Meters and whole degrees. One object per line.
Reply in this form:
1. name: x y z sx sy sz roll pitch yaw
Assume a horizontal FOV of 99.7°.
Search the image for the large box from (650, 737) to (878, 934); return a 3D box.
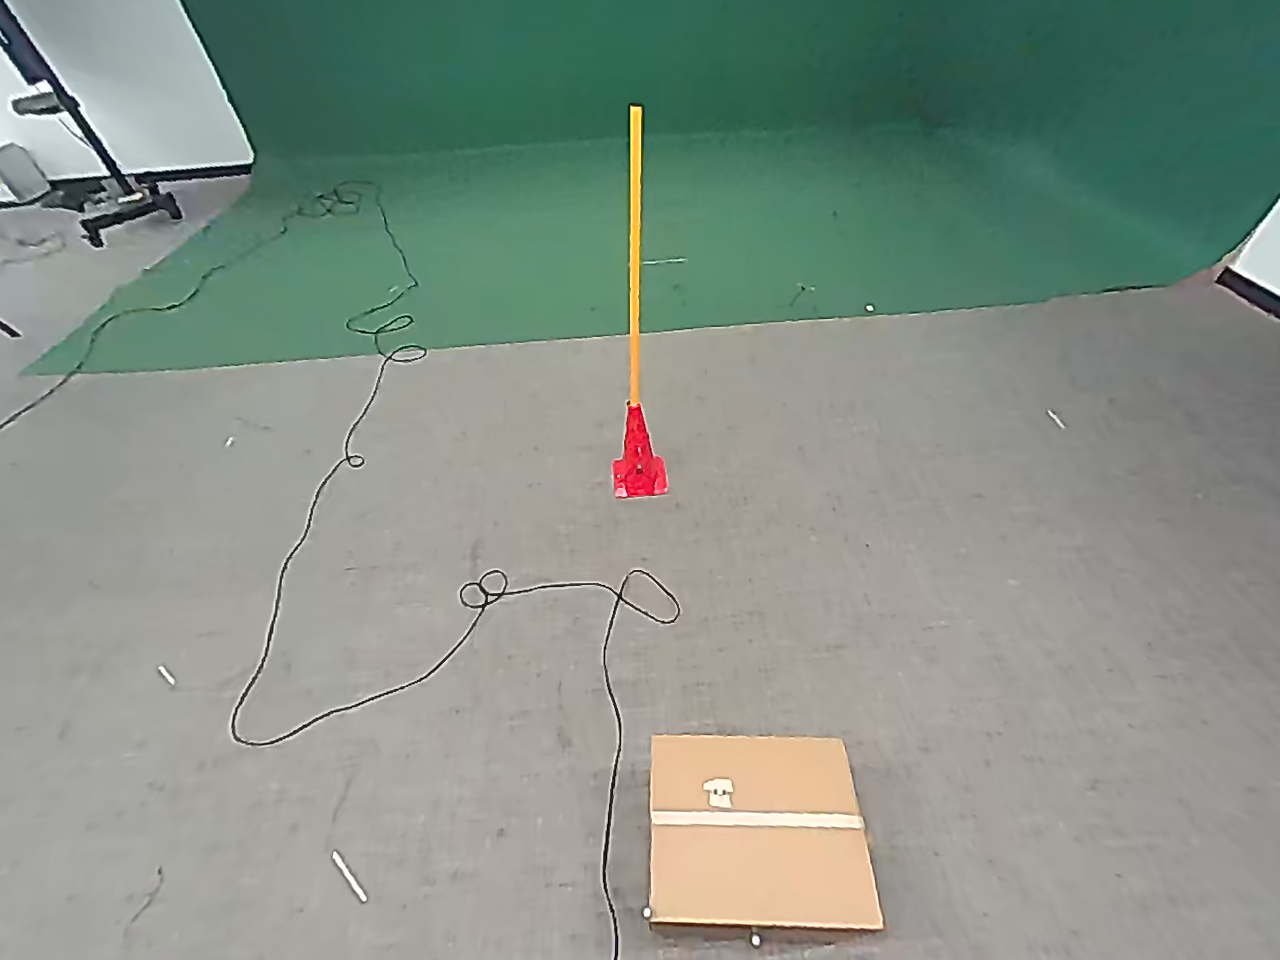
1. large box: 0.229 0.761 1.153 0.408 0.320 0.320 -1 46 4
